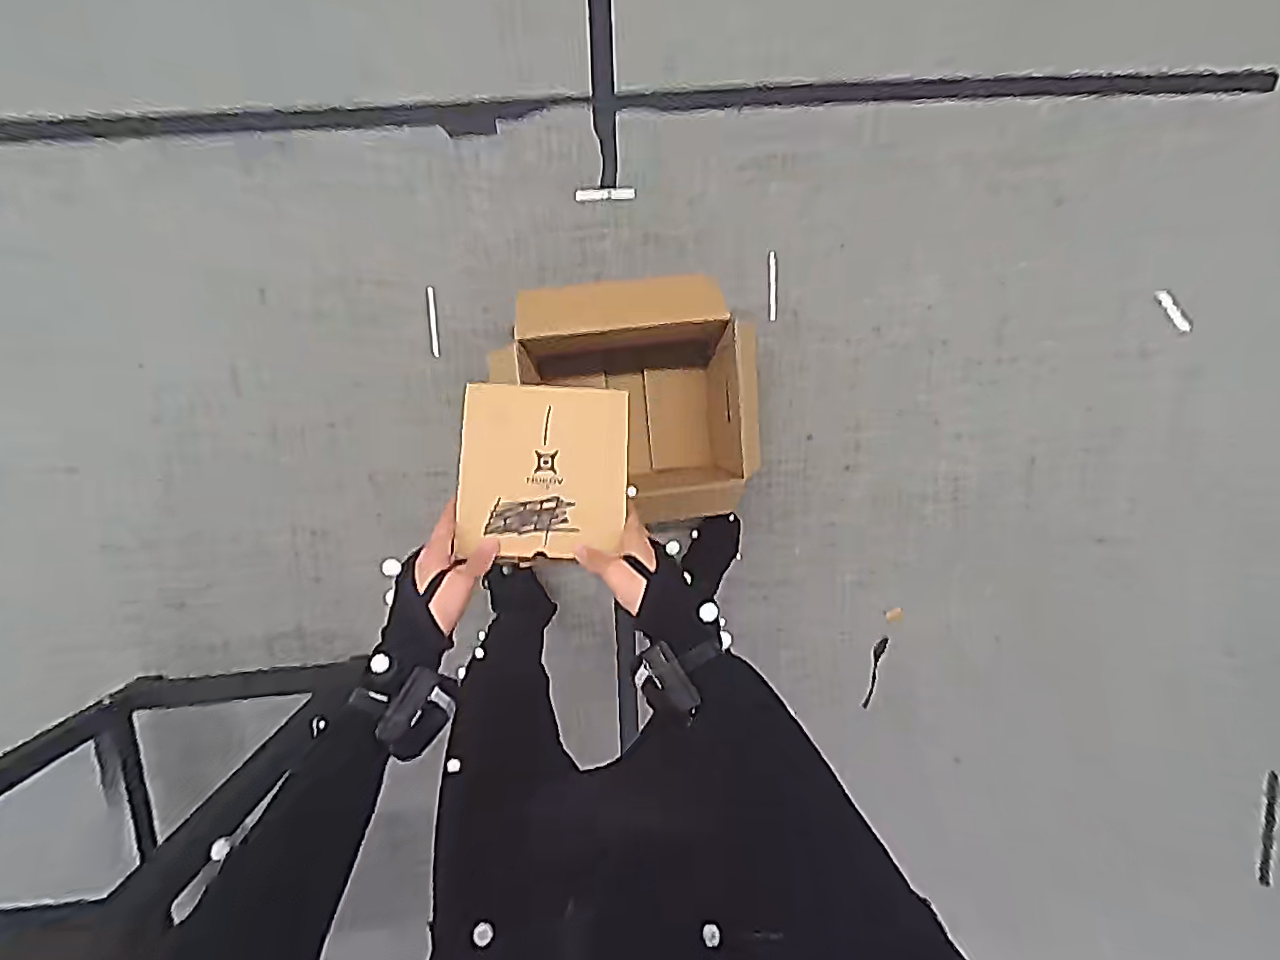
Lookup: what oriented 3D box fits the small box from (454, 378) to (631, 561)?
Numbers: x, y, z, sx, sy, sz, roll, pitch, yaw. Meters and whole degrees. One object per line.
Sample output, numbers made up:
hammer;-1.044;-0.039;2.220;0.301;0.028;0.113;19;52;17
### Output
small box;-0.098;0.000;0.608;0.168;0.176;0.179;2;79;-5
